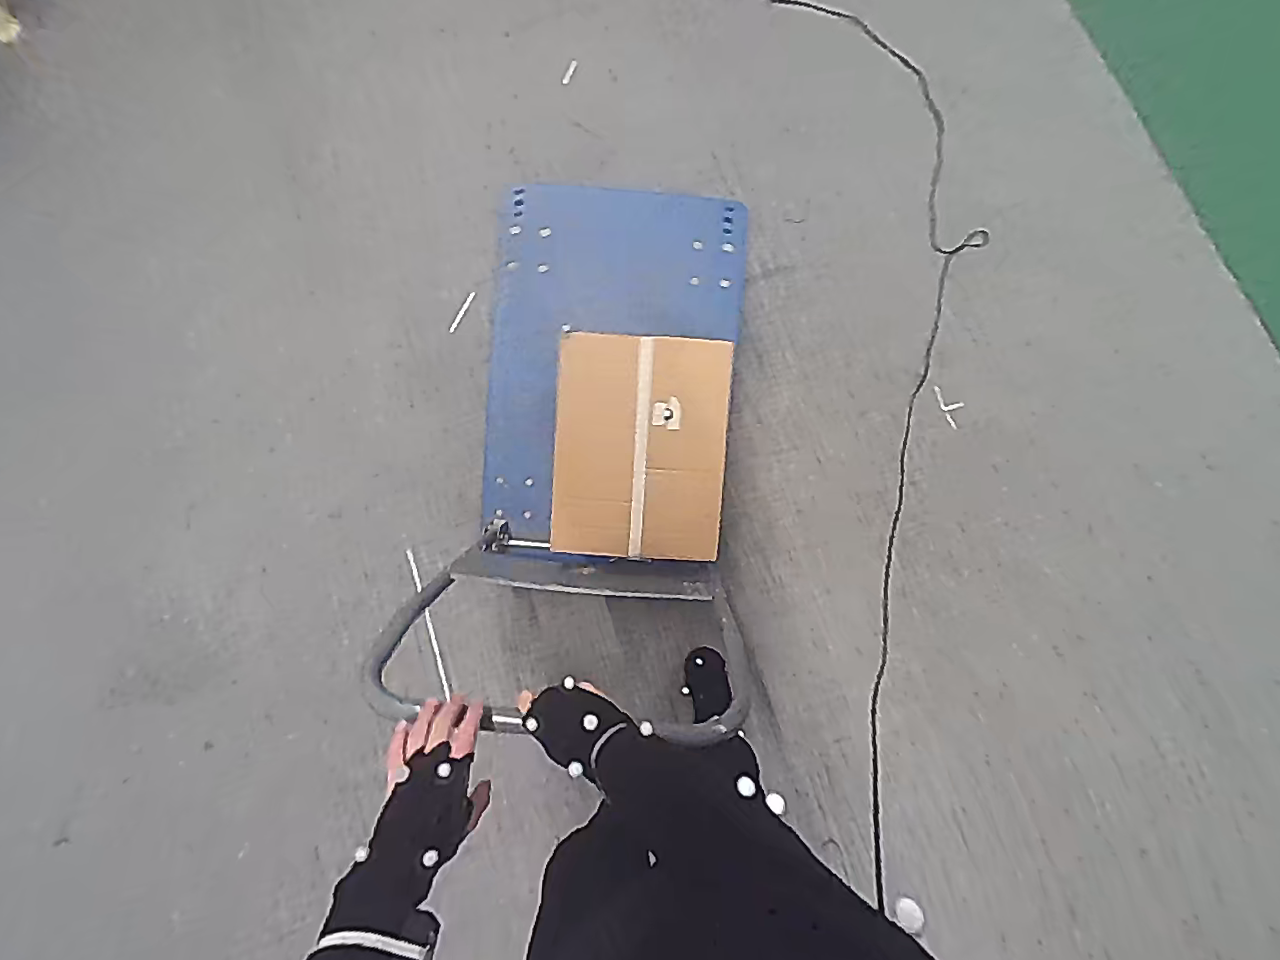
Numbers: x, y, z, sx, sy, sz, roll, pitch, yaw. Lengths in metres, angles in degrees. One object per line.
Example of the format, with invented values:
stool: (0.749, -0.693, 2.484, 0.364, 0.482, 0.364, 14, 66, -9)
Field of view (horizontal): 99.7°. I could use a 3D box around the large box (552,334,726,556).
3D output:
large box: (-0.001, -0.070, 1.132, 0.320, 0.320, 0.408, 2, 95, 0)
